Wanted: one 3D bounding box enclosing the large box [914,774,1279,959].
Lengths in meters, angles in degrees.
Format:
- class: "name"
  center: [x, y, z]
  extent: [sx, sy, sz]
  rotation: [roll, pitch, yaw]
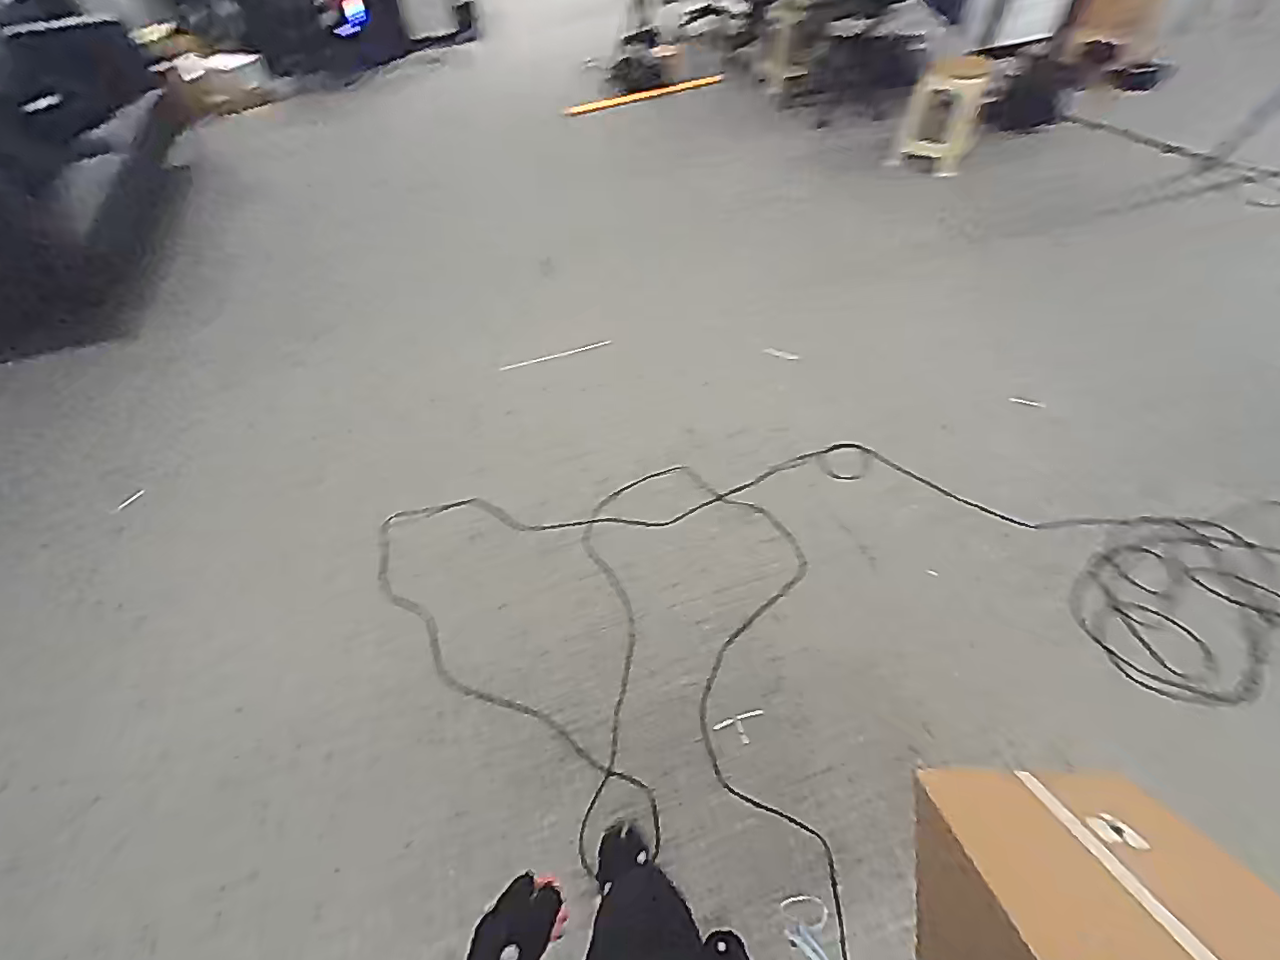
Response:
- class: "large box"
  center: [0.575, 0.631, 0.664]
  extent: [0.320, 0.408, 0.320]
  rotation: [0, 92, 7]
